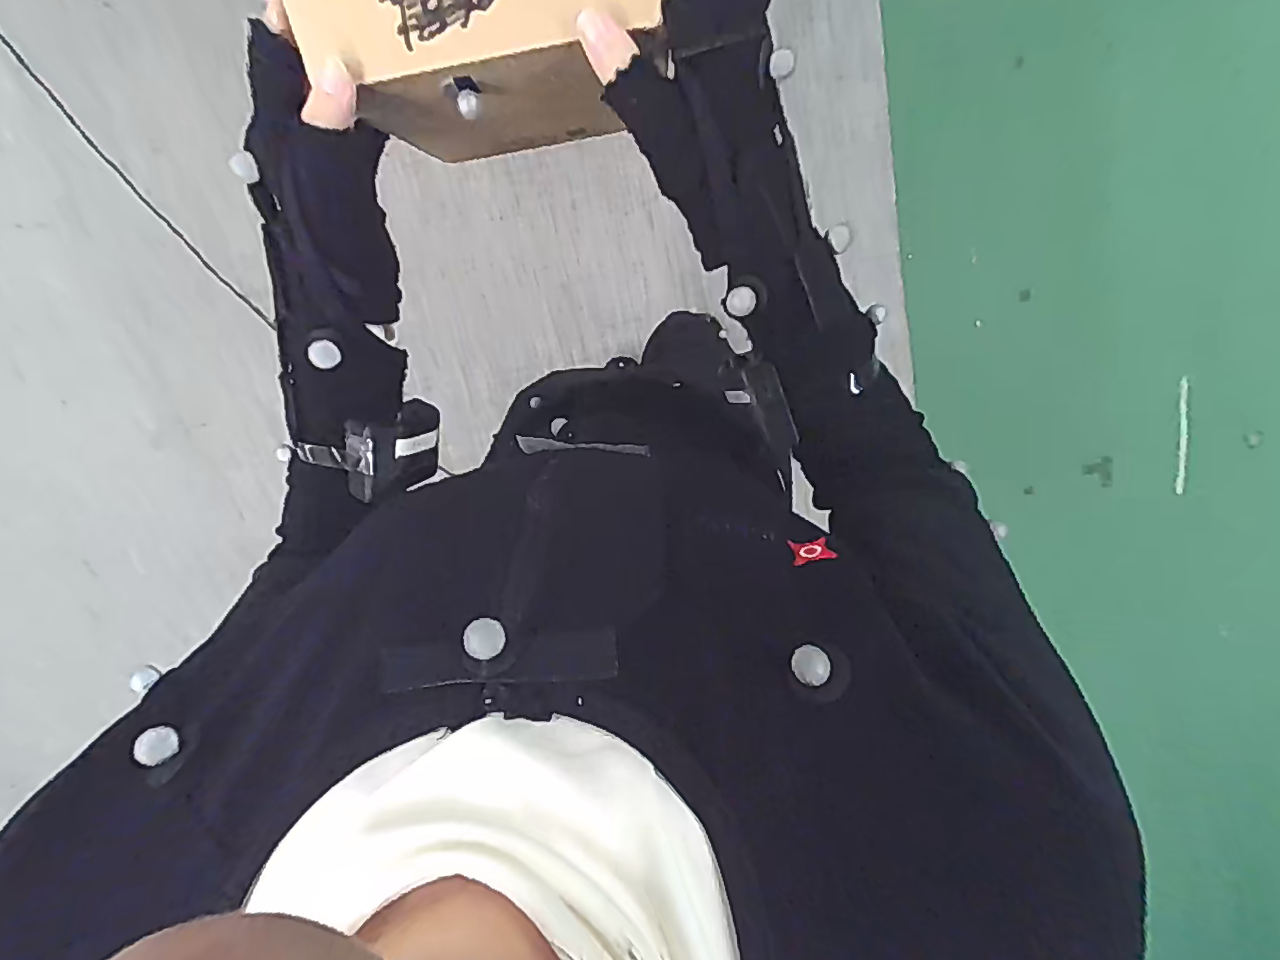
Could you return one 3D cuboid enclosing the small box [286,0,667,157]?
[{"bbox_3d":[-0.080,-0.301,0.287,0.168,0.176,0.179,-8,109,5],"label":"small box"}]
